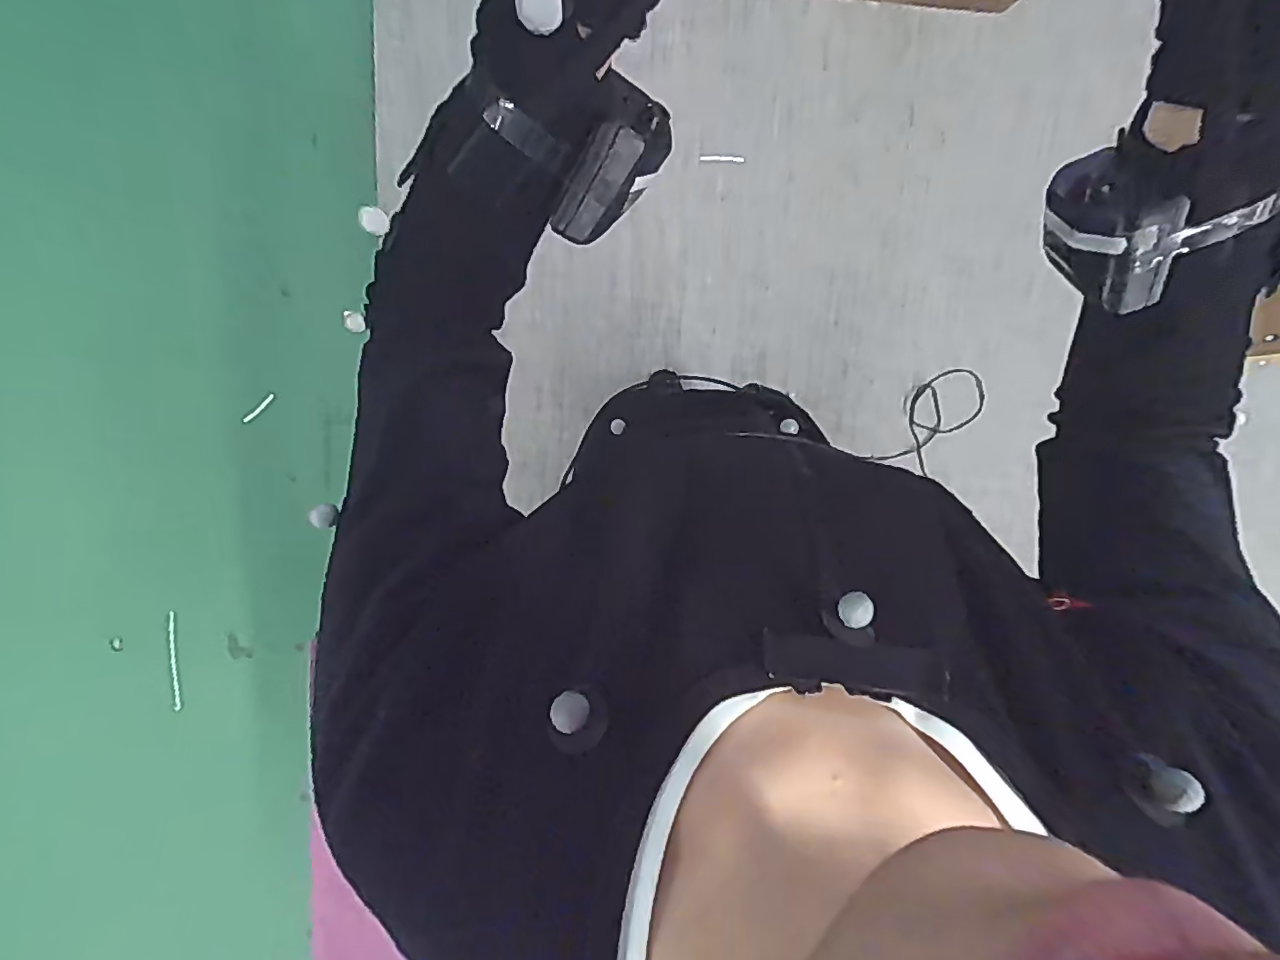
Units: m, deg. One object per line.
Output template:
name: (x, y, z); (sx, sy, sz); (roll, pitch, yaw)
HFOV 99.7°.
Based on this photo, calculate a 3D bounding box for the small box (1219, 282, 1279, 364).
small box: (1.531, -0.370, 1.266); (0.168, 0.176, 0.179); (3, 99, 2)

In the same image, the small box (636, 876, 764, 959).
small box: (0.080, 0.710, 0.755); (0.168, 0.176, 0.179); (8, 98, 1)
